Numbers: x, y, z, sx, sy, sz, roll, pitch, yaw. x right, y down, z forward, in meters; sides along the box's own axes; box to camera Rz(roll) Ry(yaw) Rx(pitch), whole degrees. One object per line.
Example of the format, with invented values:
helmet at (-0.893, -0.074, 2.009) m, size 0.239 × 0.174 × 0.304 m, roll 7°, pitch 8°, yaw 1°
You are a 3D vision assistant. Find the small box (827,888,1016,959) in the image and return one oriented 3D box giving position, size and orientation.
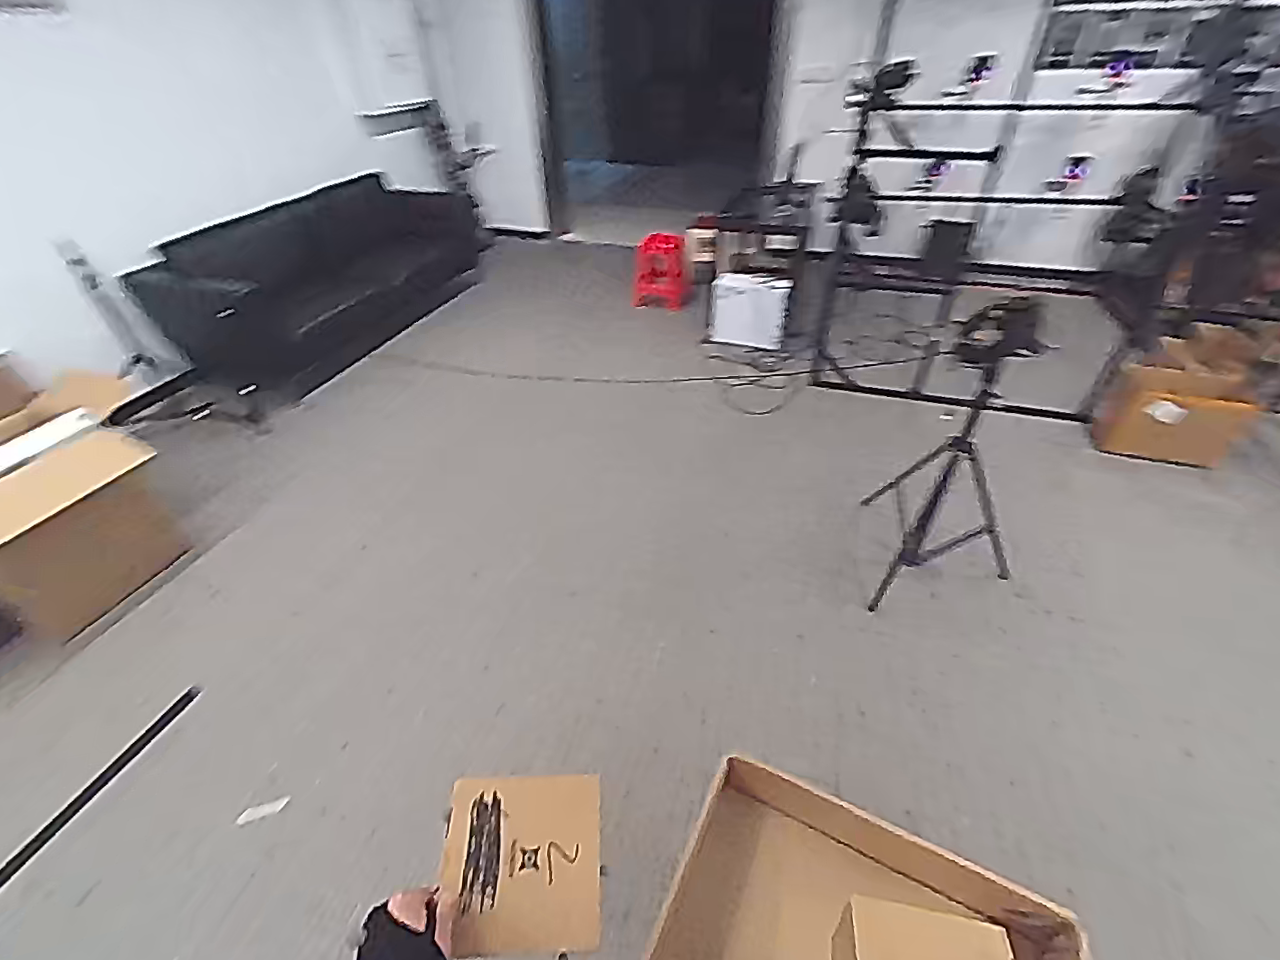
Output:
small box at (0.325, 0.618, 0.622) m, size 0.179 × 0.176 × 0.168 m, roll 6°, pitch 33°, yaw 11°
